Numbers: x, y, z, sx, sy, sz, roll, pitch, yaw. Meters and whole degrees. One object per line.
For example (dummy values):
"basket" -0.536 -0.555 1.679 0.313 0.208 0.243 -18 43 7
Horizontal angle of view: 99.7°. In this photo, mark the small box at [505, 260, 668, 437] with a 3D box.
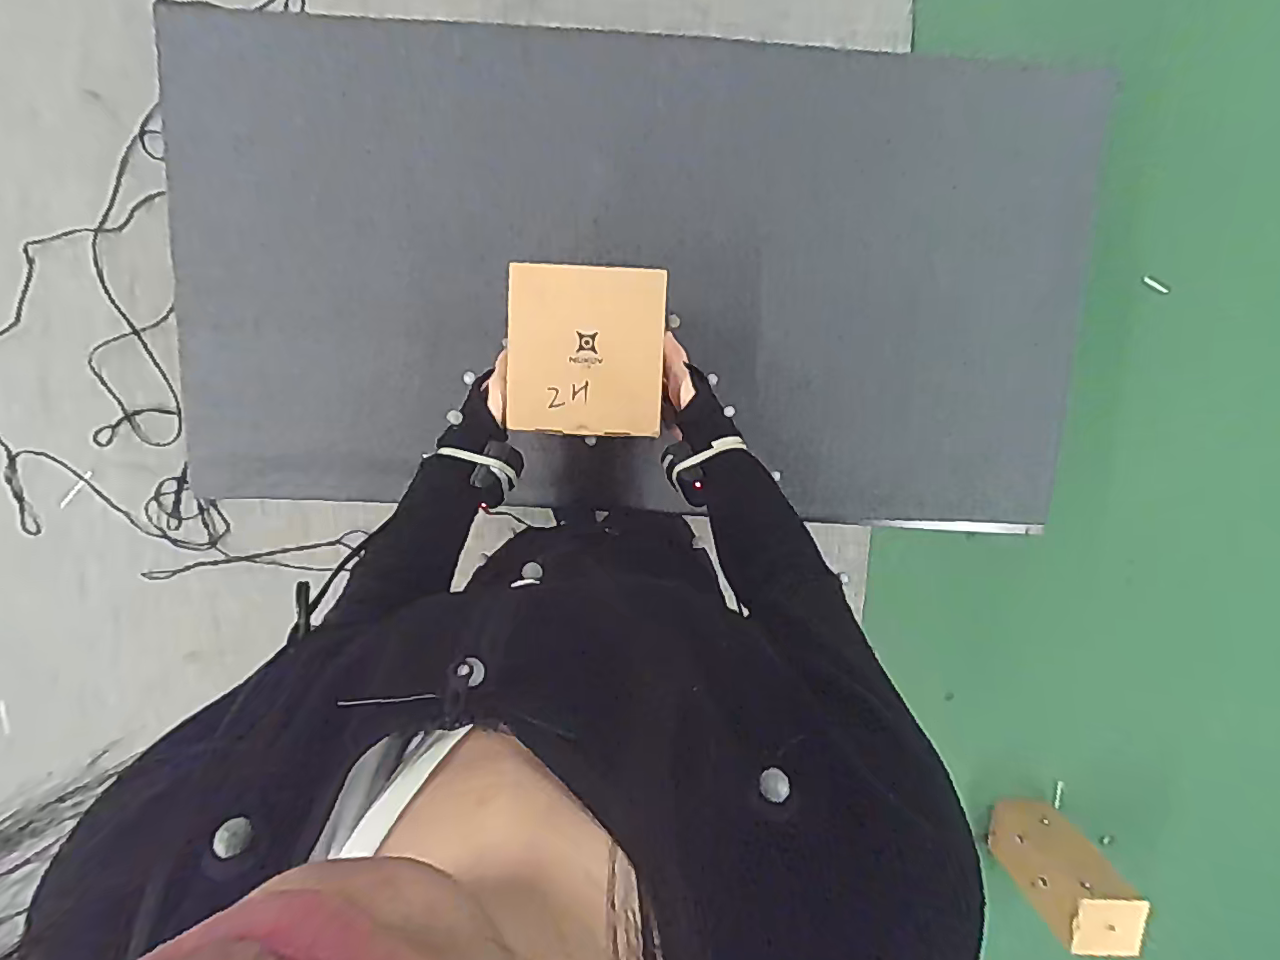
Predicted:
"small box" -0.058 -0.143 0.642 0.168 0.176 0.179 2 96 0

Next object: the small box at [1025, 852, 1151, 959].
"small box" 1.162 1.114 1.415 0.179 0.176 0.168 2 99 -1
